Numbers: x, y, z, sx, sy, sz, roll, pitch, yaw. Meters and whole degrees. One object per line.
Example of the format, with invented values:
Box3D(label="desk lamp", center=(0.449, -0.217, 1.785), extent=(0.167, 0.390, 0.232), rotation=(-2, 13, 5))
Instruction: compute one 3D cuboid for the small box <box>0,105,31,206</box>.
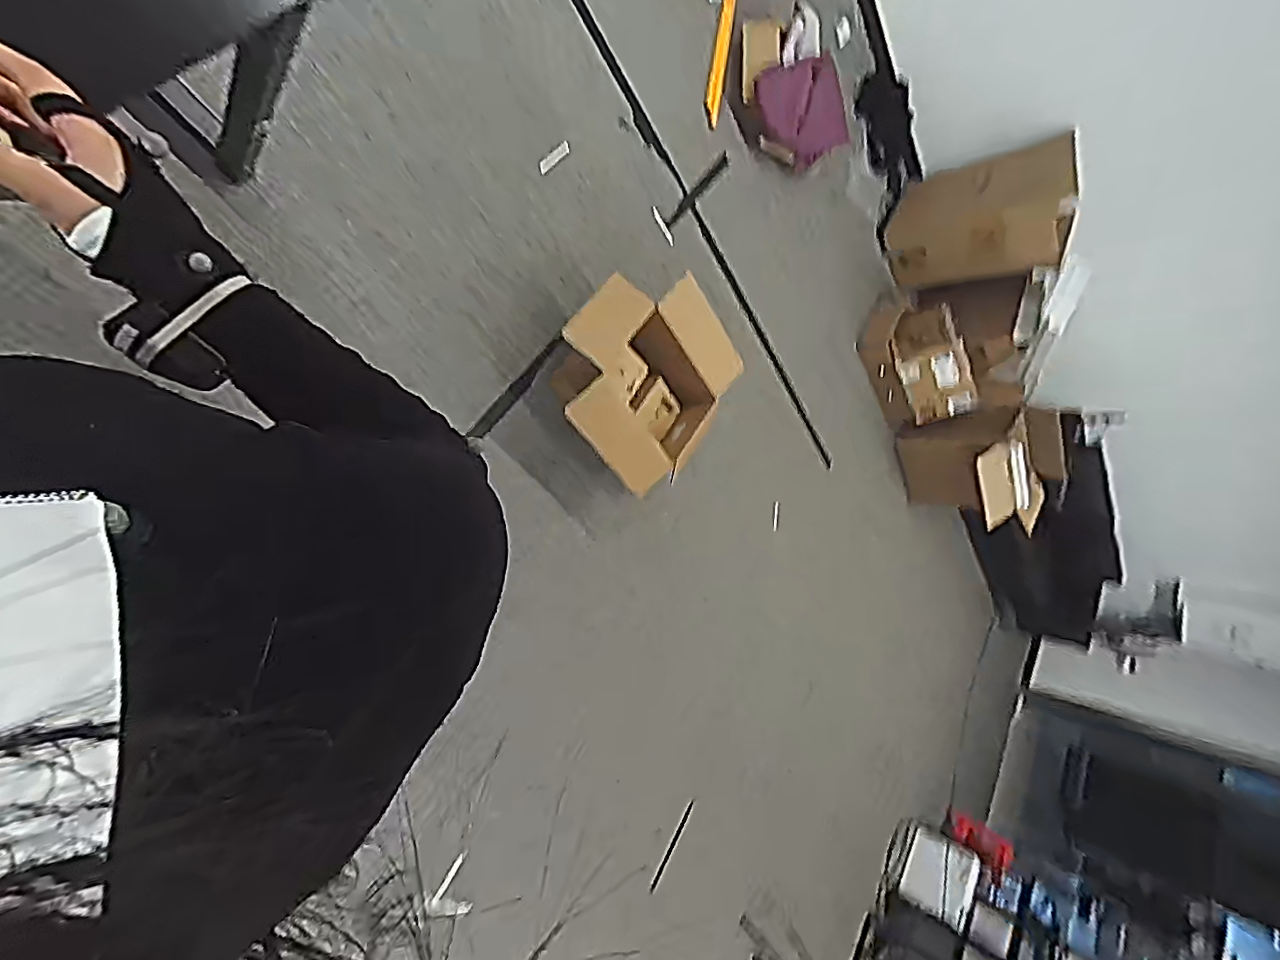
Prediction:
Box3D(label="small box", center=(-0.497, -0.259, 0.300), extent=(0.168, 0.176, 0.179), rotation=(-21, 115, -37))
